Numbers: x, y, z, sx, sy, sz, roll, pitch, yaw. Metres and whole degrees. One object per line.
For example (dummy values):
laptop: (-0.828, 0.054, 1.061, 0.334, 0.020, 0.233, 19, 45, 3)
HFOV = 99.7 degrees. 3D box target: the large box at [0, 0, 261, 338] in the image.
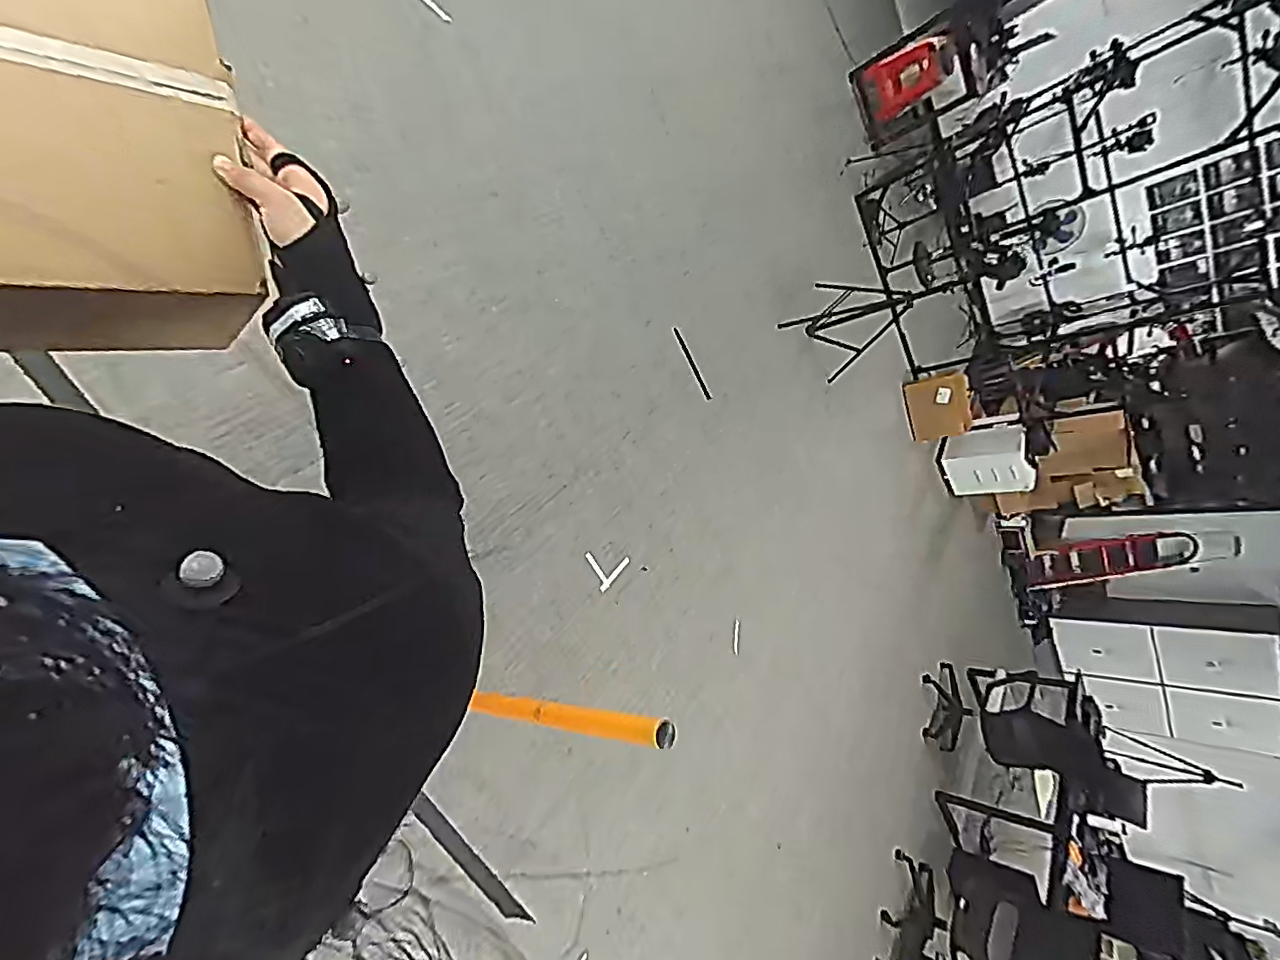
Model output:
large box: (-0.596, -0.291, 0.432, 0.408, 0.320, 0.320, -15, 101, -42)
